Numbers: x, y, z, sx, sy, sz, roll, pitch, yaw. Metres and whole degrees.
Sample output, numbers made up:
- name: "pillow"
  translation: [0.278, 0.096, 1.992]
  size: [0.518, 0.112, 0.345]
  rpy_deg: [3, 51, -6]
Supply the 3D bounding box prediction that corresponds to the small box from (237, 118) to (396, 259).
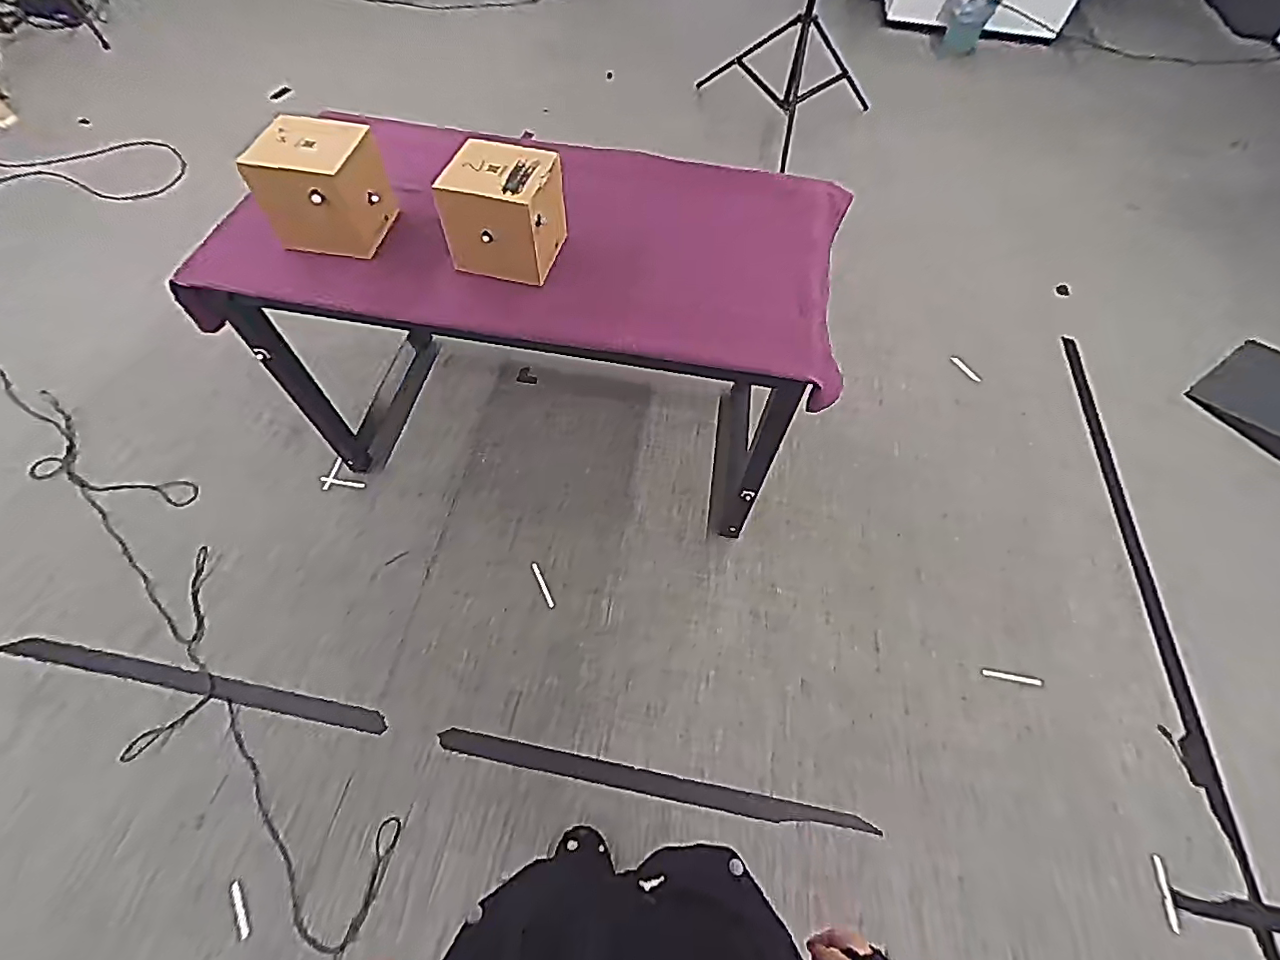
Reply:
- name: "small box"
  translation: [-0.592, -0.544, 1.022]
  size: [0.179, 0.176, 0.168]
  rpy_deg: [7, 58, 2]
